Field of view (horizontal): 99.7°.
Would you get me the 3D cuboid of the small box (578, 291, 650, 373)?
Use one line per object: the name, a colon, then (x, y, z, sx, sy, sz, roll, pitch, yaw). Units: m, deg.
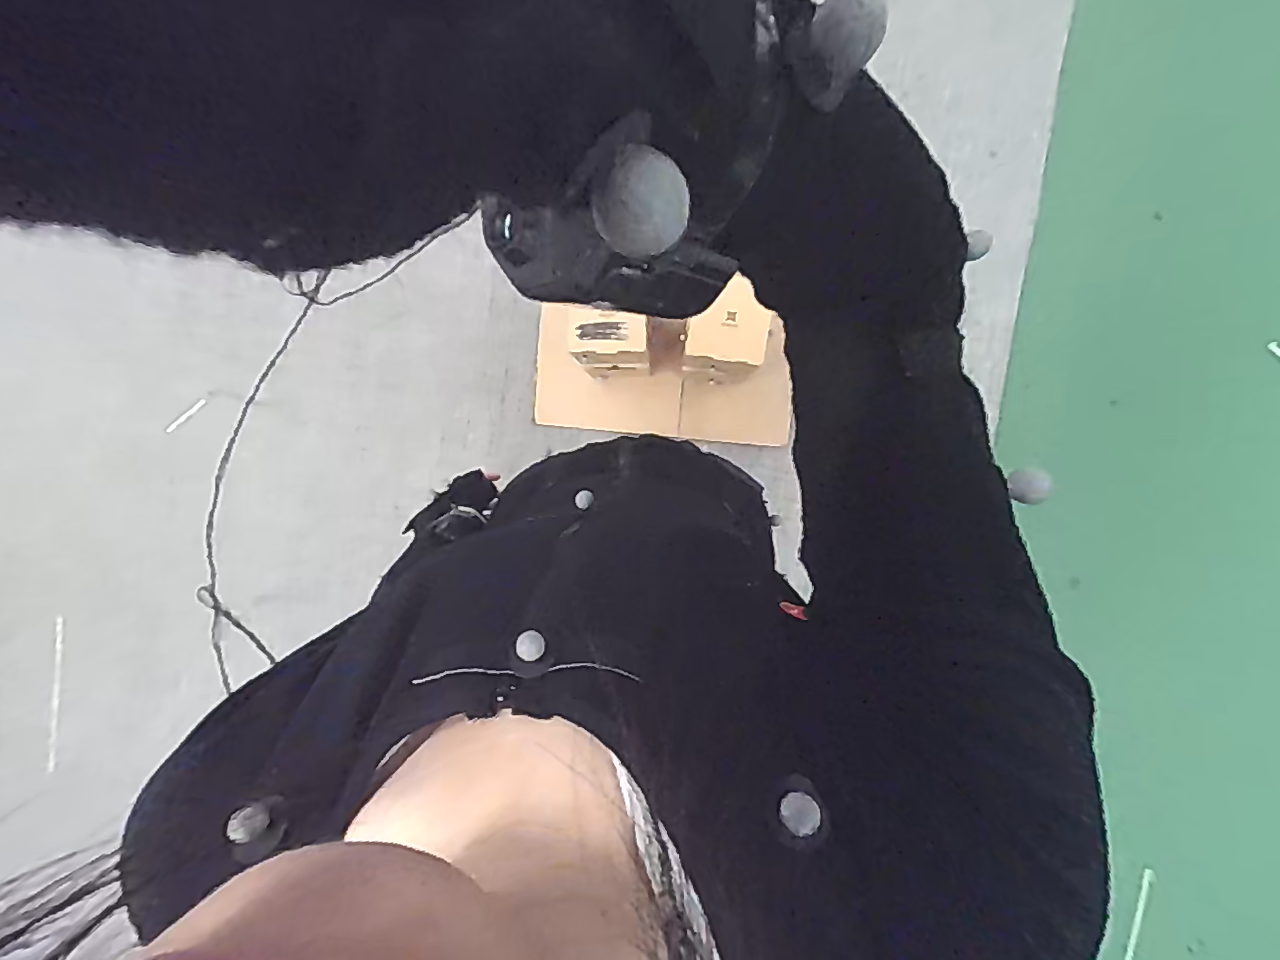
small box: (-0.061, -0.366, 1.365, 0.168, 0.176, 0.179, 1, 94, 2)

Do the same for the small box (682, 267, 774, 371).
small box: (0.186, -0.349, 1.198, 0.168, 0.176, 0.179, 8, 95, 2)

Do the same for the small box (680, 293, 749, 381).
small box: (0.190, -0.354, 1.361, 0.168, 0.176, 0.179, 6, 95, 3)
